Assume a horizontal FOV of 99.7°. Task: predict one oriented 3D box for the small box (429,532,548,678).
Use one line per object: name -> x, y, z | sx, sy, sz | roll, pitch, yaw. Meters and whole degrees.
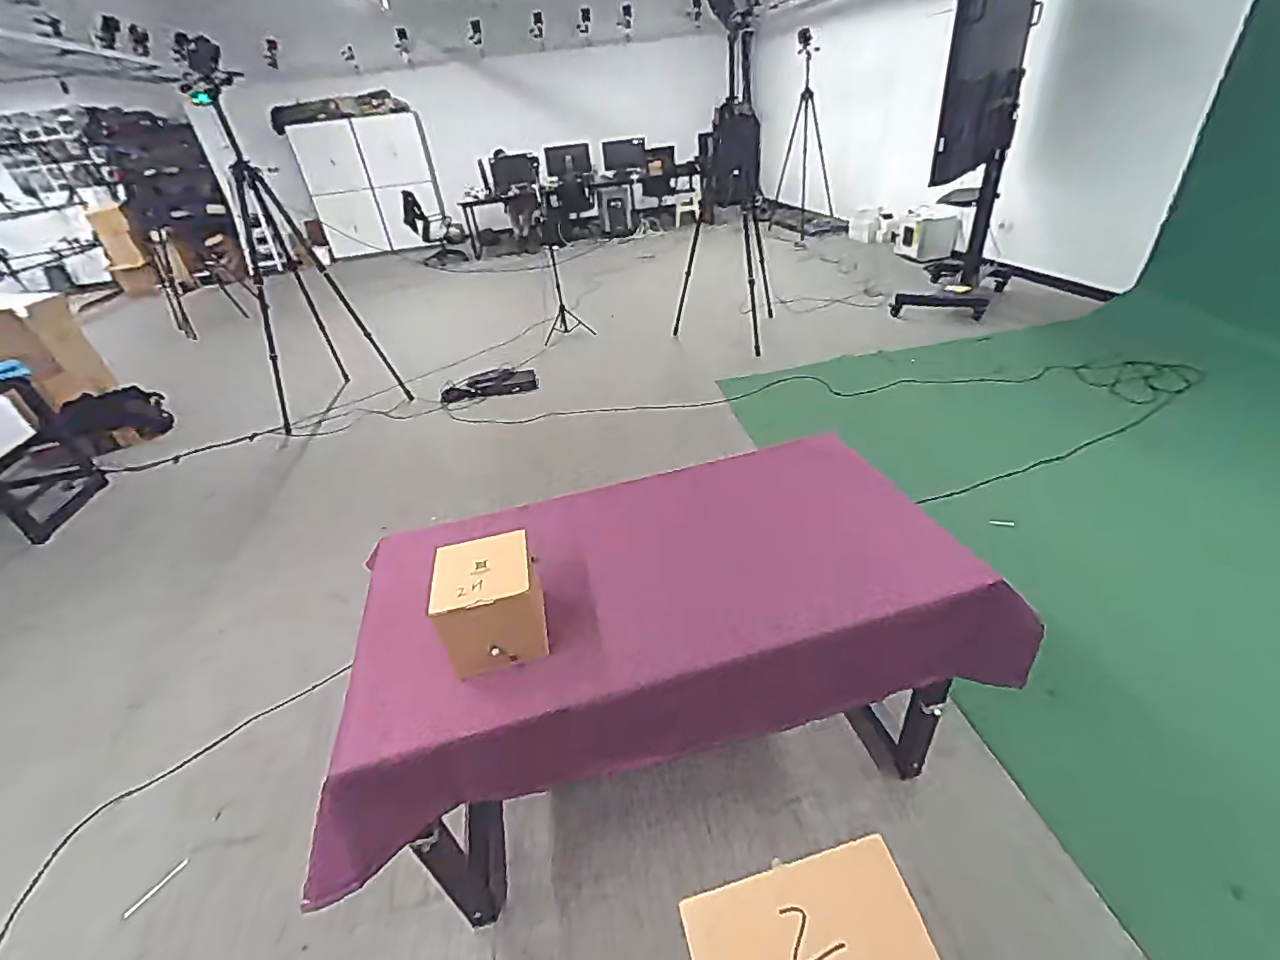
small box -> -0.270, 0.226, 0.990 | 0.168, 0.176, 0.179 | -13, 34, -7
